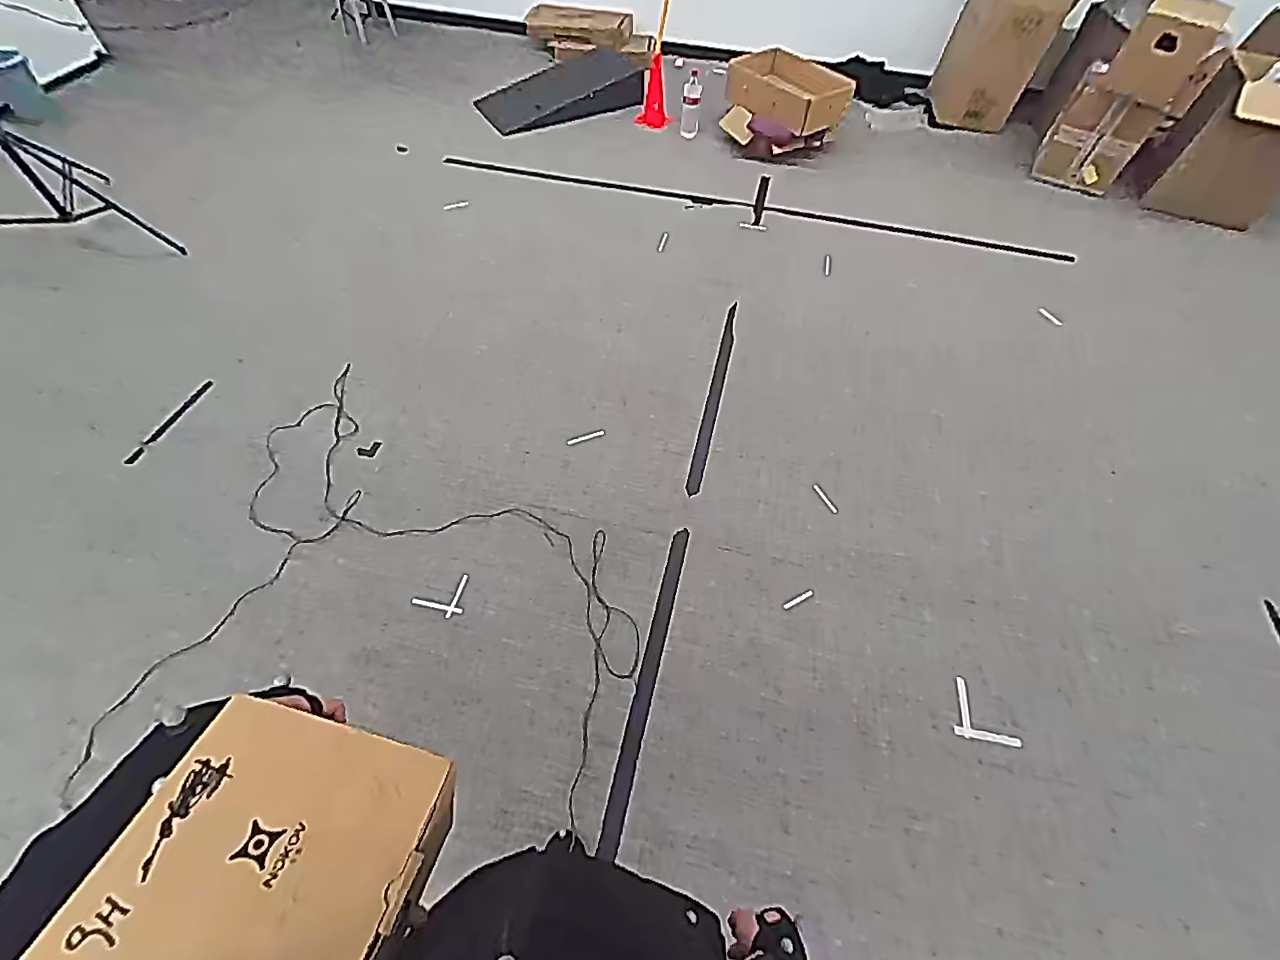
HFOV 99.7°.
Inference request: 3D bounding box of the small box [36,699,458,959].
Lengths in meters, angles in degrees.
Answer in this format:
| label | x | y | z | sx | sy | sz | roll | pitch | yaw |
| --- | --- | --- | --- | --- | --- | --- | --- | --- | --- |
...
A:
| label | x | y | z | sx | sy | sz | roll | pitch | yaw |
| --- | --- | --- | --- | --- | --- | --- | --- | --- | --- |
| small box | -0.259 | 0.302 | 0.411 | 0.179 | 0.176 | 0.168 | 19 | 42 | -2 |
